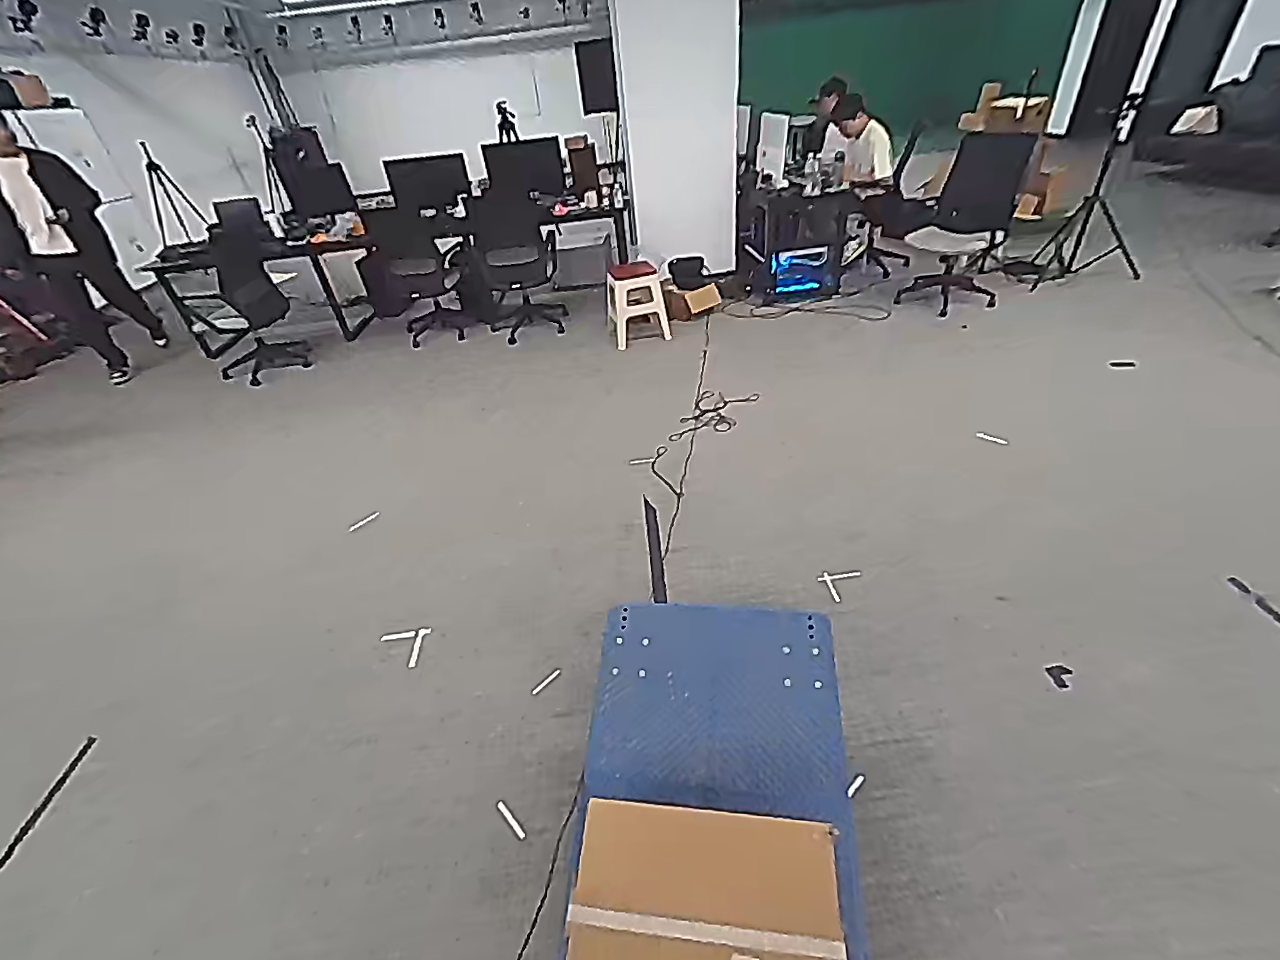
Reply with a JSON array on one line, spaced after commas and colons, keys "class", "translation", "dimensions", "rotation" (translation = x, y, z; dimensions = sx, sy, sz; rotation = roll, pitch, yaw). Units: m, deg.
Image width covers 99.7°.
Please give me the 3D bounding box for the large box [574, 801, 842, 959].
[{"class": "large box", "translation": [0.116, 0.773, 0.943], "dimensions": [0.408, 0.320, 0.320], "rotation": [0, 54, 9]}]
